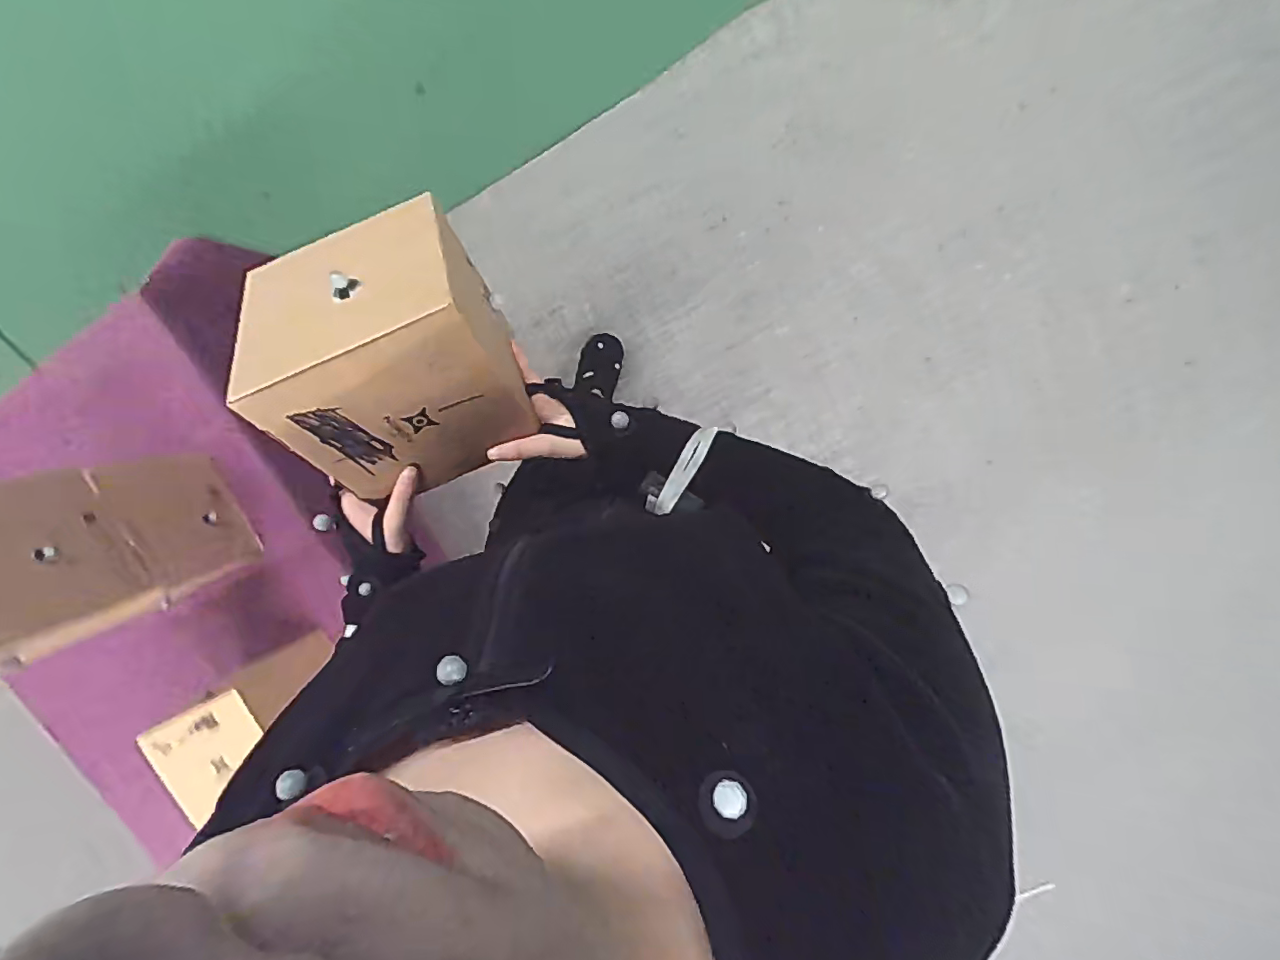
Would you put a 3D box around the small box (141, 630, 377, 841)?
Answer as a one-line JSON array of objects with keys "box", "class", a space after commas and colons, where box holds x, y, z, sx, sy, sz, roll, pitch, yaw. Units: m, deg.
[{"box": [-0.512, 0.345, 0.758, 0.168, 0.176, 0.179, -27, 98, 8], "class": "small box"}]

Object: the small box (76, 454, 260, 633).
[{"box": [-0.671, 0.079, 0.723, 0.179, 0.176, 0.168, -26, 98, 7], "class": "small box"}]

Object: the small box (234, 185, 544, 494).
[{"box": [-0.209, -0.122, 0.483, 0.179, 0.168, 0.176, -23, 56, 1], "class": "small box"}]

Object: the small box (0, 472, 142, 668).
[{"box": [-0.682, 0.106, 0.560, 0.179, 0.176, 0.168, -27, 97, 8], "class": "small box"}]
